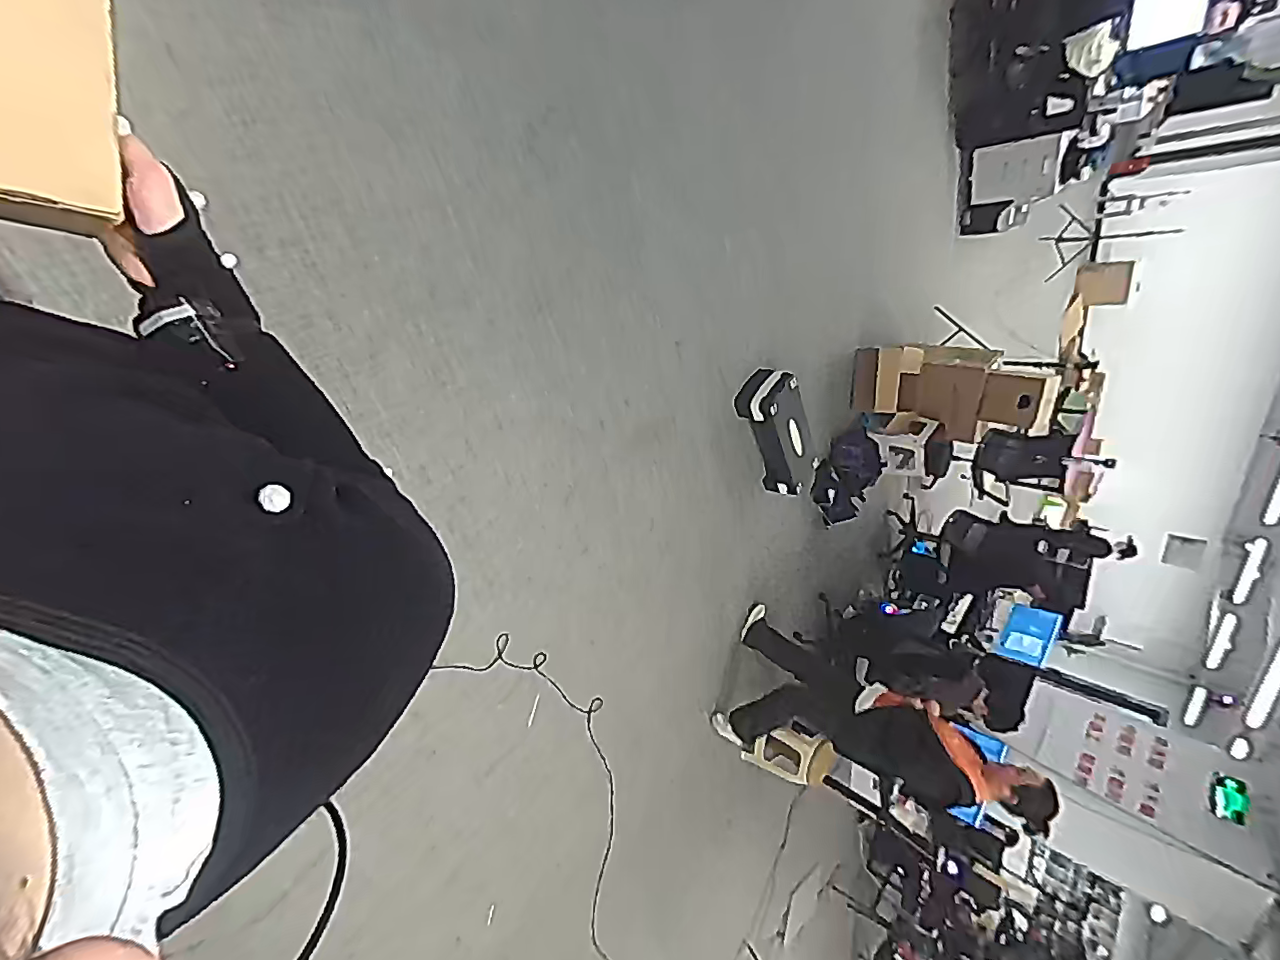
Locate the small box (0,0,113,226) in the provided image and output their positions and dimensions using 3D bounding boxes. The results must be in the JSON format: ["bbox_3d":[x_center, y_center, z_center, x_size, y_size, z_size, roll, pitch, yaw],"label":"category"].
[{"bbox_3d":[-0.433,-0.262,0.315,0.168,0.176,0.179,-7,108,-49],"label":"small box"}]
